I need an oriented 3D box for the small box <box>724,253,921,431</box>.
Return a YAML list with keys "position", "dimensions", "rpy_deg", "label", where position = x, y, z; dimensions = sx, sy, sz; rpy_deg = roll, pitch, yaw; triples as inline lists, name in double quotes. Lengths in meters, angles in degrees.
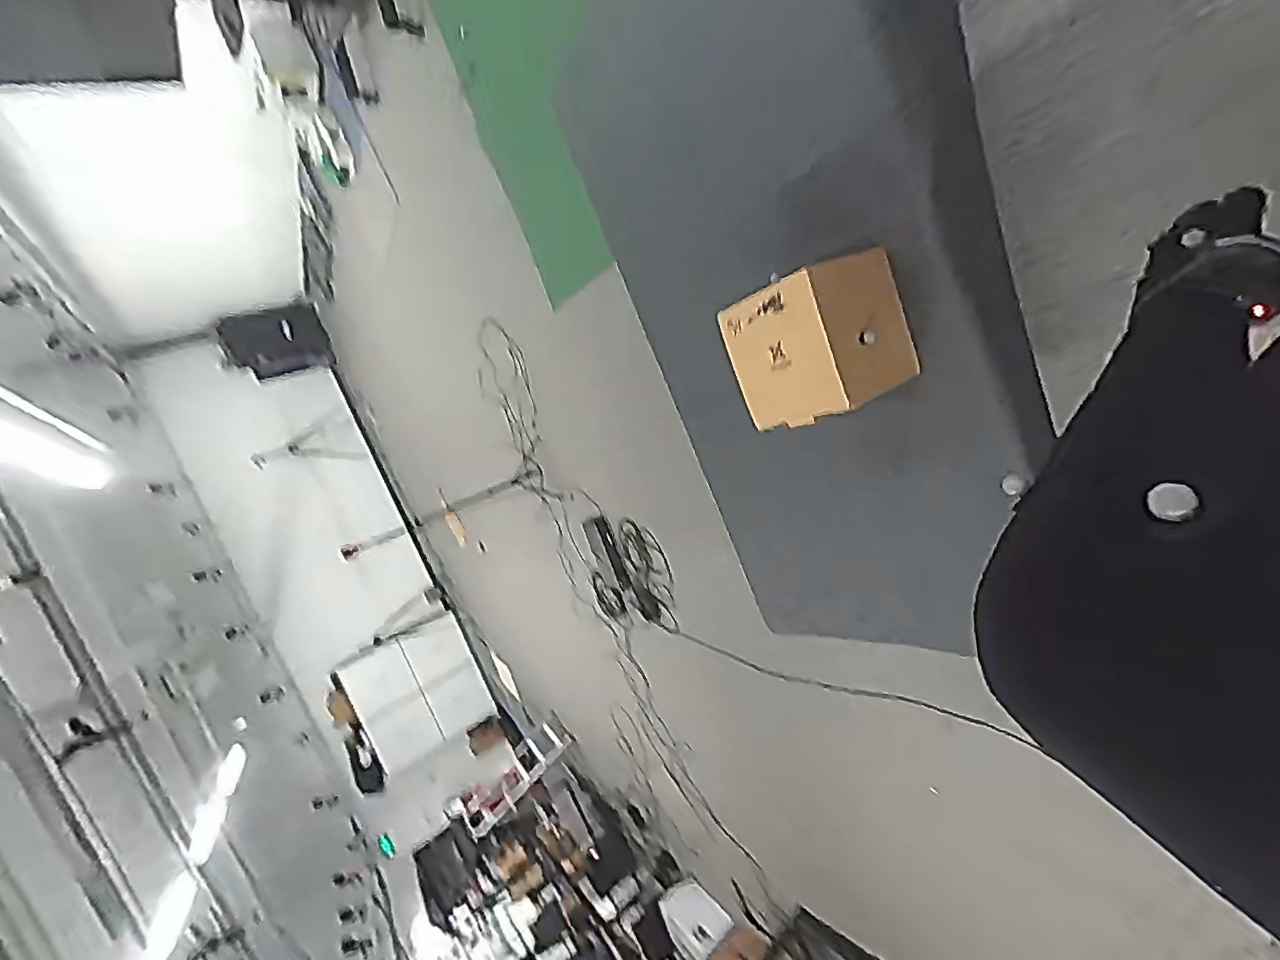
- position: [0.255, -0.188, 0.752]
  dimensions: [0.168, 0.176, 0.179]
  rpy_deg: [-10, 104, 60]
  label: "small box"
